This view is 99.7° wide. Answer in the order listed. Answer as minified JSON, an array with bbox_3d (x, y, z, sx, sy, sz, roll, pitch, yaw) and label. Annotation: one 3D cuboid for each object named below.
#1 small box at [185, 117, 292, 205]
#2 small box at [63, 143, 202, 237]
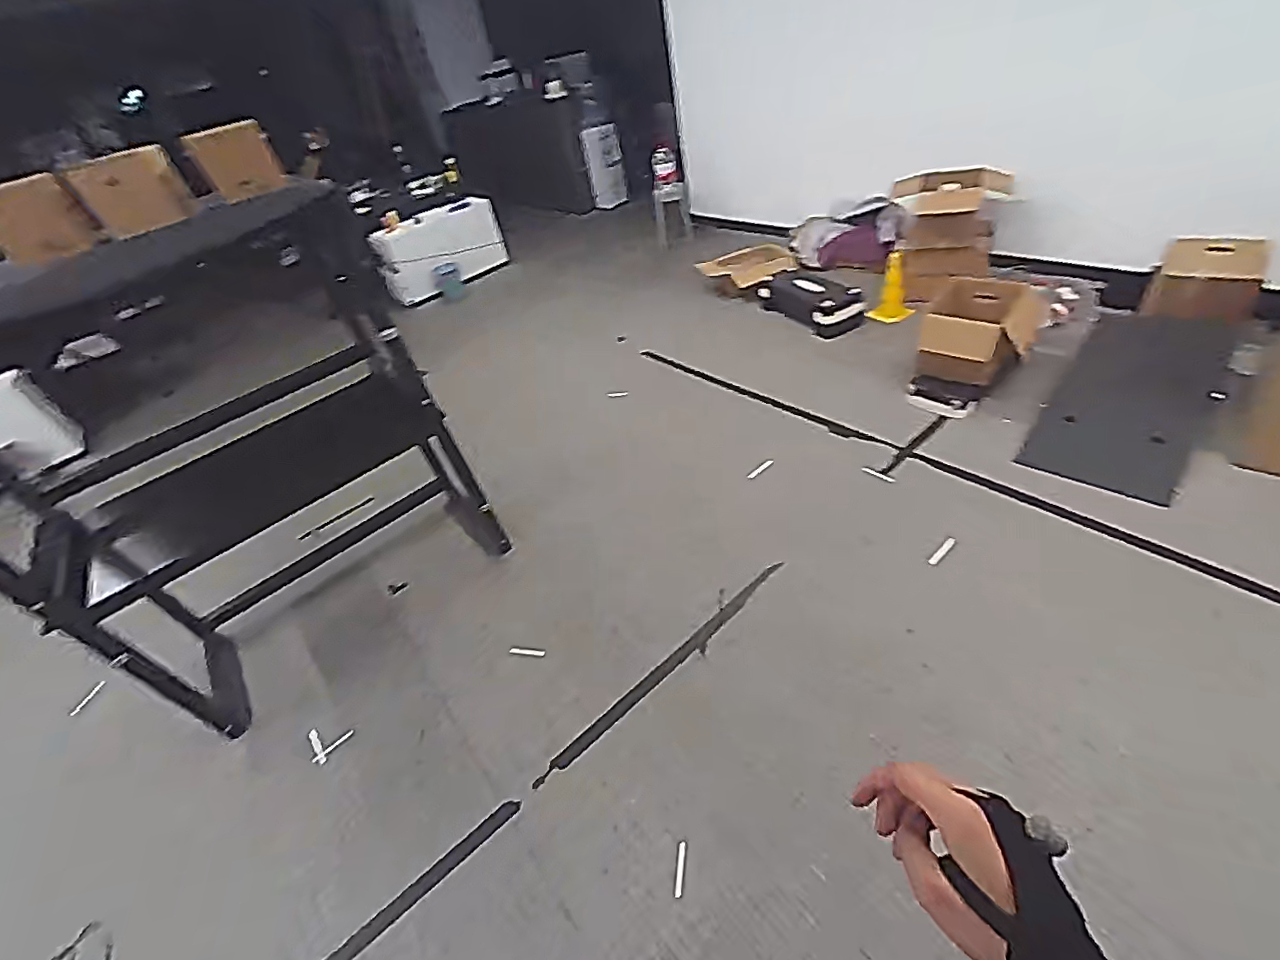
[{"bbox_3d":[-1.073,-0.856,1.452,0.168,0.176,0.179,-32,44,-18],"label":"small box"},{"bbox_3d":[-1.291,-0.747,1.392,0.179,0.176,0.168,-24,41,-11],"label":"small box"}]
